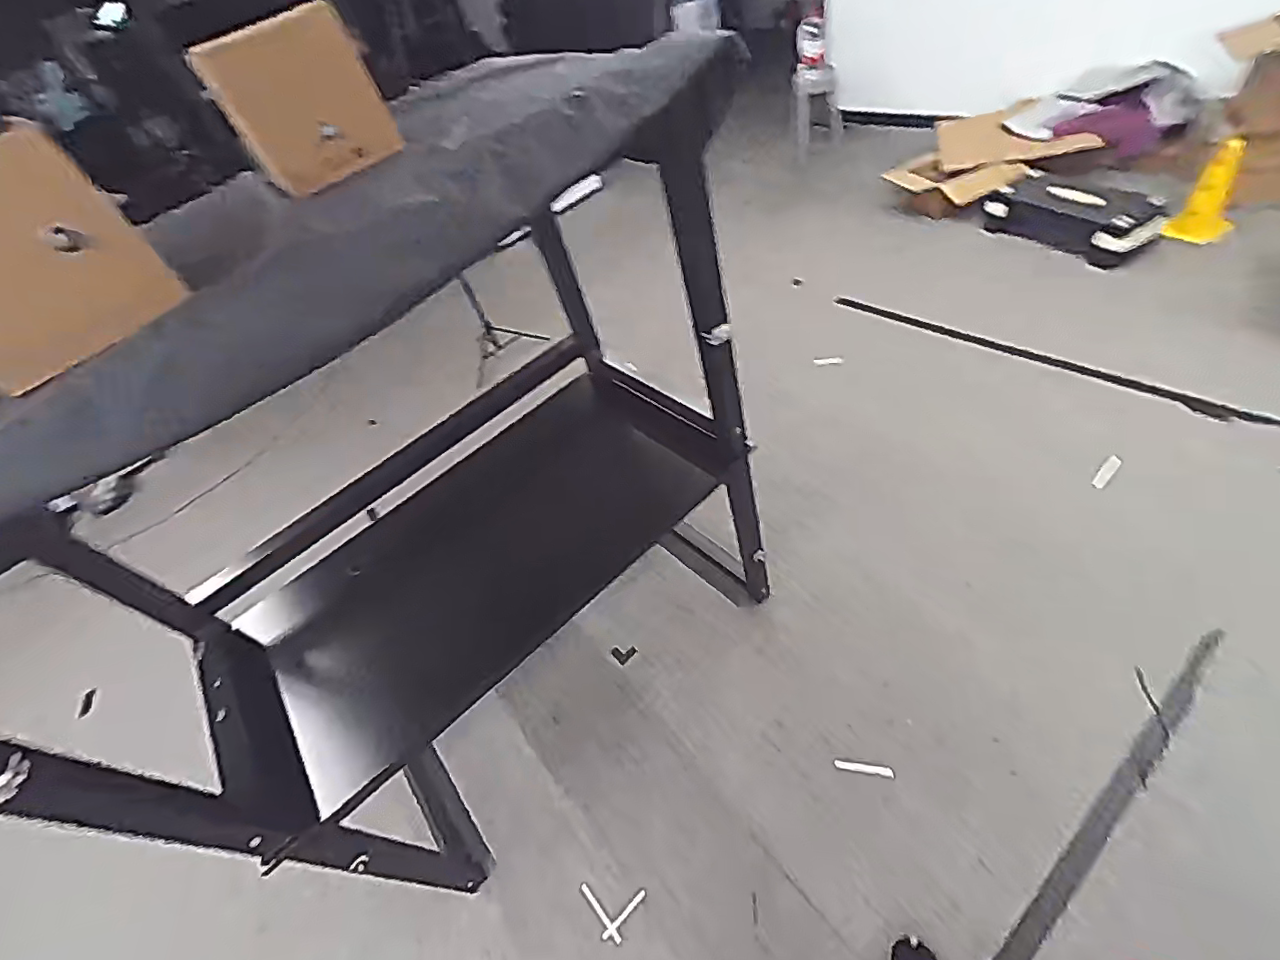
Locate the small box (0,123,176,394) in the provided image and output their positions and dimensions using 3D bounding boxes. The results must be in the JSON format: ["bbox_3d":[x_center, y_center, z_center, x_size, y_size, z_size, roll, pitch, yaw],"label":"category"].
[{"bbox_3d":[-0.593,-0.214,0.518,0.179,0.176,0.168,-42,48,-19],"label":"small box"}]

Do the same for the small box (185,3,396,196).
[{"bbox_3d":[-0.476,-0.519,0.747,0.168,0.176,0.179,-38,49,-15],"label":"small box"}]
